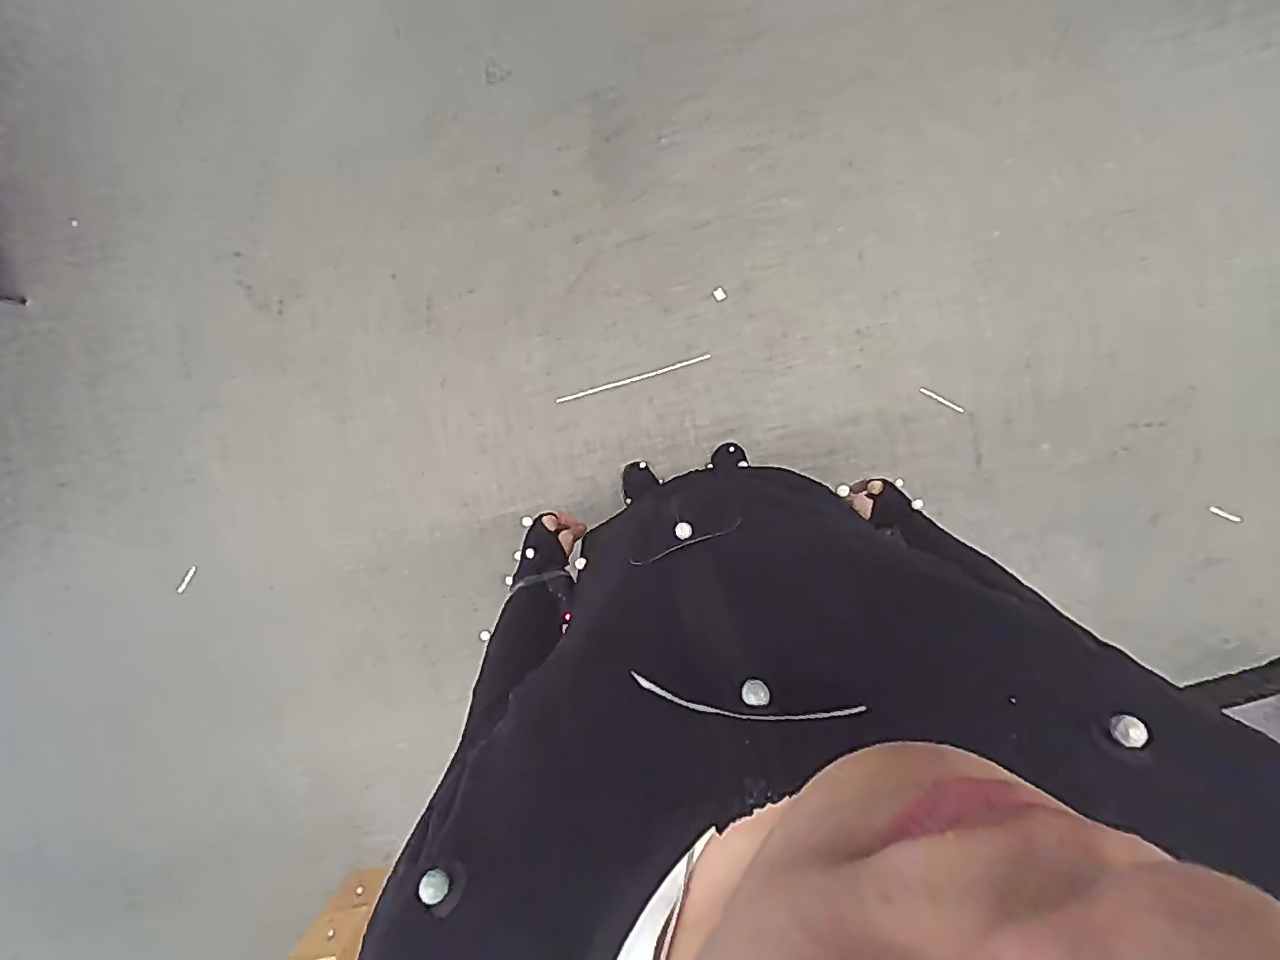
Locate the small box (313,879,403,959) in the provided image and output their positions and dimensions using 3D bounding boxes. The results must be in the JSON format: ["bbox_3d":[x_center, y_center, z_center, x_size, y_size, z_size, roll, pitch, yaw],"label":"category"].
[{"bbox_3d":[-0.854,1.373,1.660,0.179,0.176,0.168,-14,91,2],"label":"small box"}]

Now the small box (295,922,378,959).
[{"bbox_3d":[-0.856,1.376,1.498,0.168,0.176,0.179,-16,93,3],"label":"small box"}]
